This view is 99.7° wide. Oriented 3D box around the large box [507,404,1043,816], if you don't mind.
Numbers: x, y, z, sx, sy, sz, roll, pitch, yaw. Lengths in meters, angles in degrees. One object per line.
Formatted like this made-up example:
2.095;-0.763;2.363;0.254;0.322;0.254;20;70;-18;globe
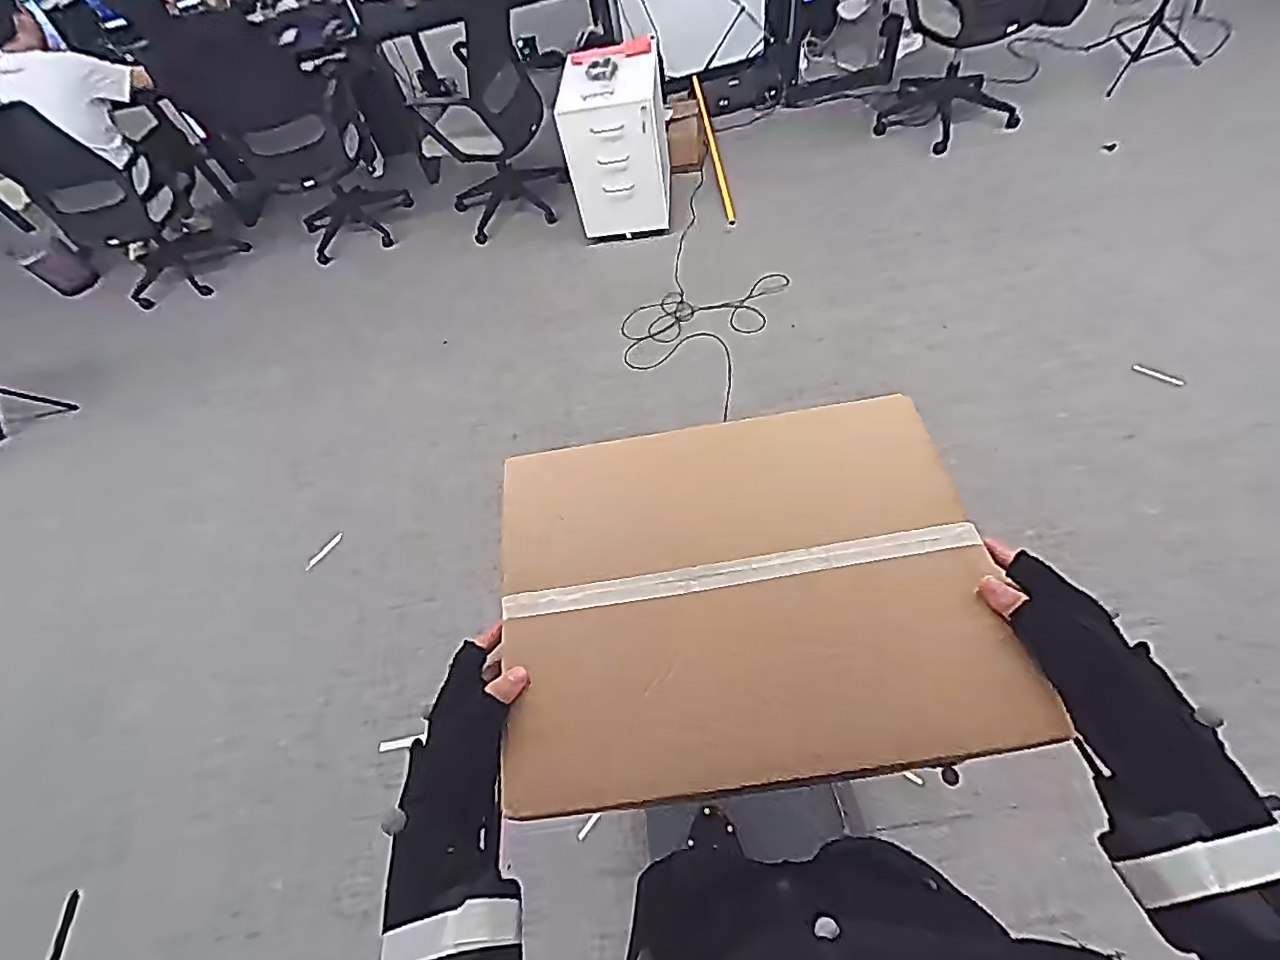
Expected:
0.097;0.159;0.597;0.408;0.320;0.320;-9;58;1;large box
